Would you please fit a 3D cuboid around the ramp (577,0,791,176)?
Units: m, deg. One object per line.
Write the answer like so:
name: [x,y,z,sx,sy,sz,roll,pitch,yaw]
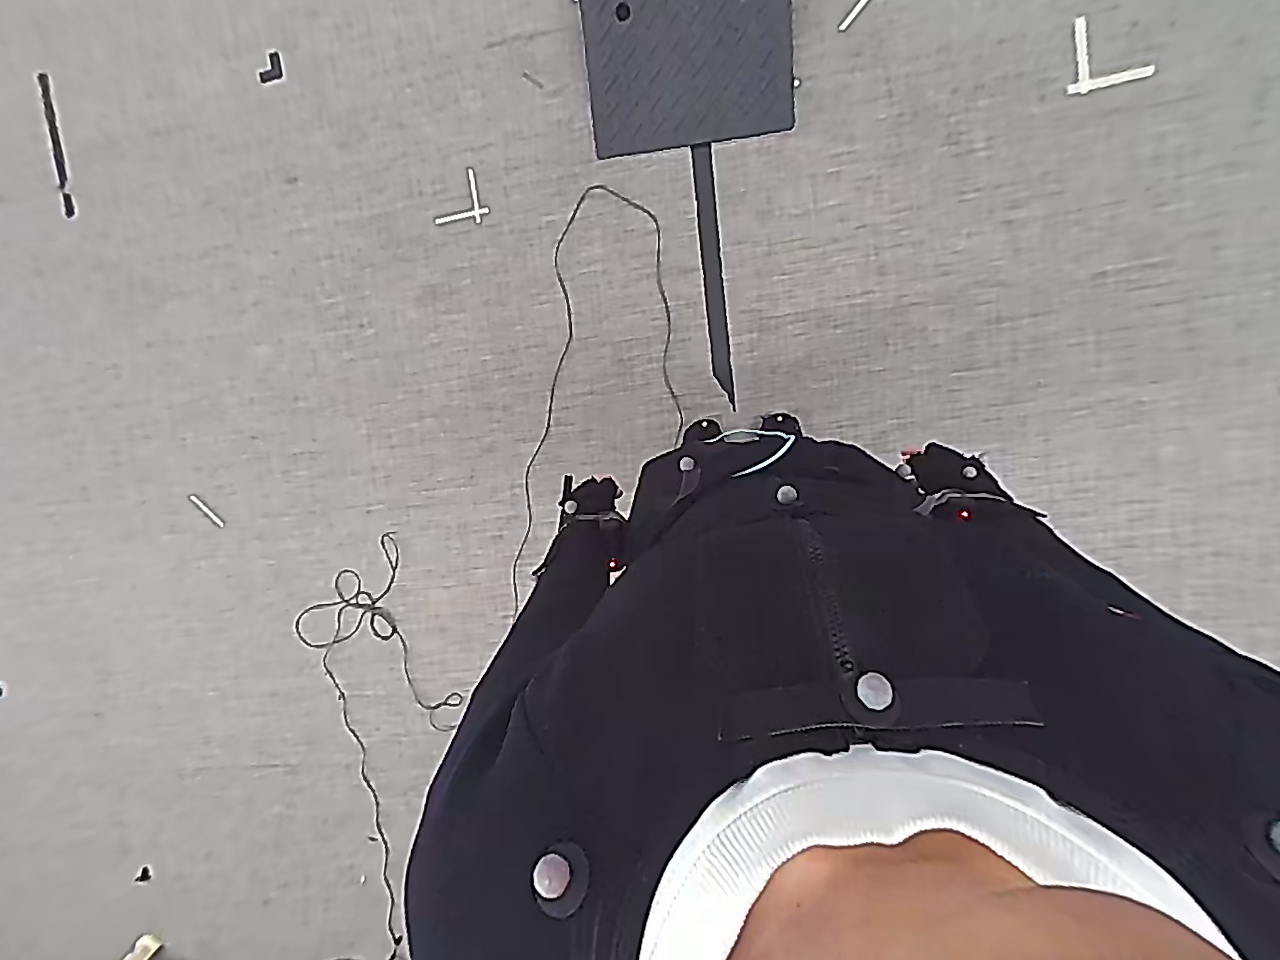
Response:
ramp: [0.074,-1.289,1.245,0.509,0.206,0.991,-7,95,8]
